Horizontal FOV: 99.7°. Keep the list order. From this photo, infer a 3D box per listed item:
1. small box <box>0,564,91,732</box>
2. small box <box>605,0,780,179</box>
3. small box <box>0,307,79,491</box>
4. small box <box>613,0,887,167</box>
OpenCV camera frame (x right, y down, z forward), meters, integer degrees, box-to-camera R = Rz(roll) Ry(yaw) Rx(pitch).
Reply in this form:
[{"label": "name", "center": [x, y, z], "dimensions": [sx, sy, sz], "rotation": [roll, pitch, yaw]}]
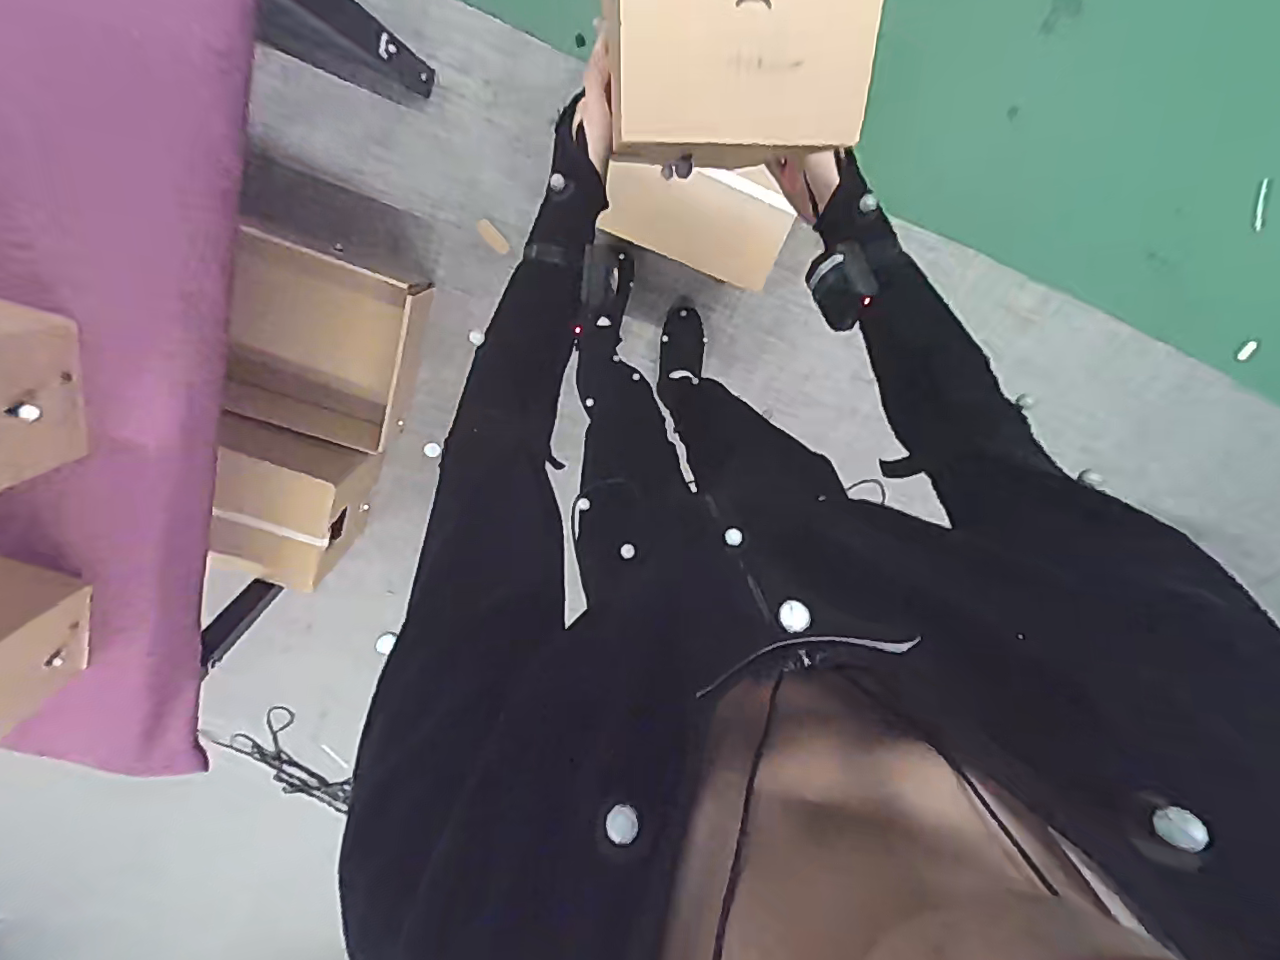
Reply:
[{"label": "small box", "center": [-0.846, 0.215, 0.663], "dimensions": [0.179, 0.176, 0.168], "rotation": [20, 111, -12]}, {"label": "small box", "center": [0.053, -0.415, 0.545], "dimensions": [0.168, 0.176, 0.179], "rotation": [1, 116, -7]}, {"label": "small box", "center": [-0.713, -0.088, 0.532], "dimensions": [0.179, 0.176, 0.168], "rotation": [16, 112, -9]}, {"label": "small box", "center": [0.066, -0.342, 0.401], "dimensions": [0.168, 0.176, 0.179], "rotation": [-1, 117, -5]}]
